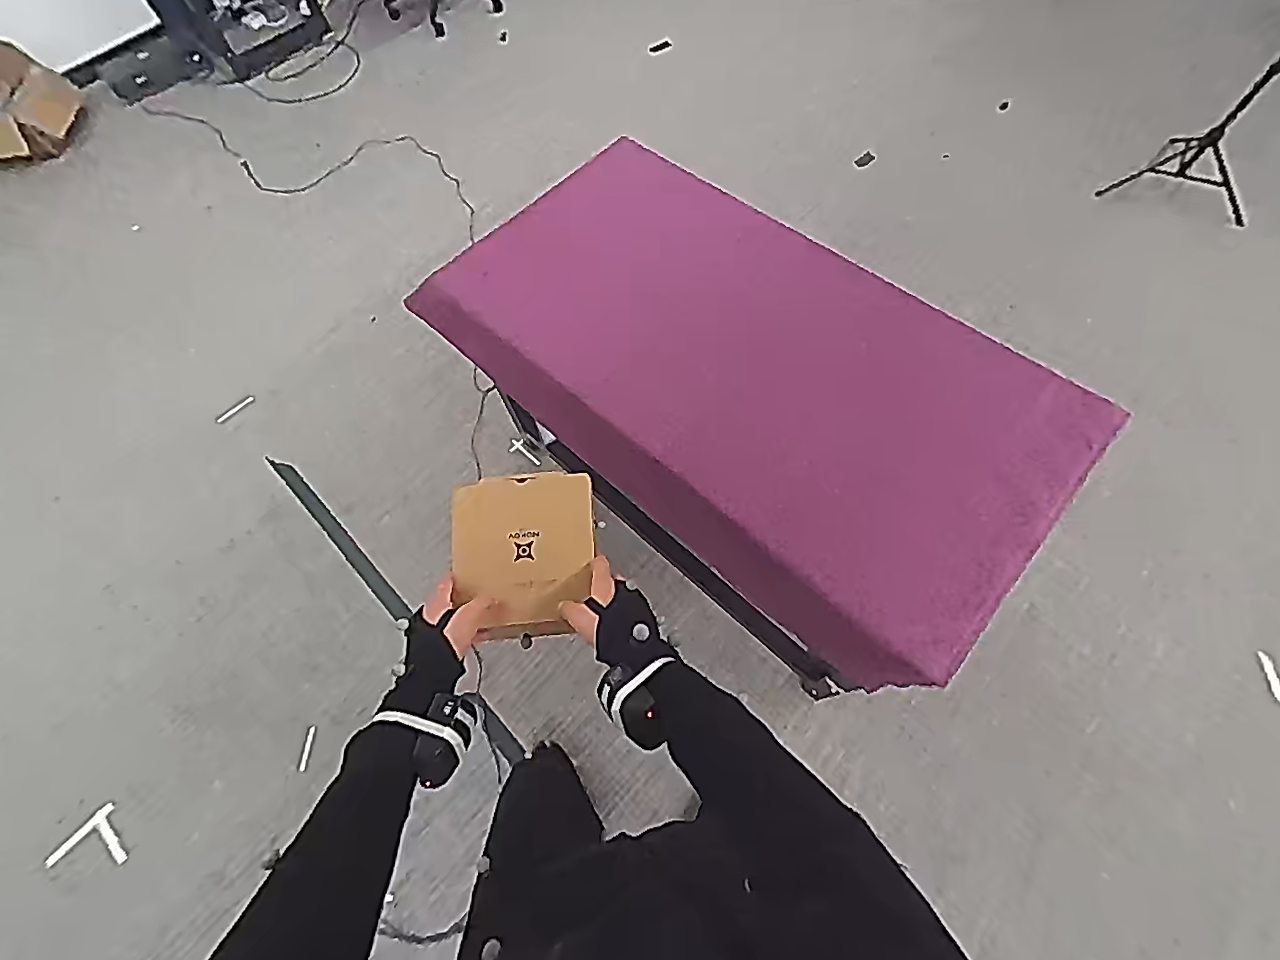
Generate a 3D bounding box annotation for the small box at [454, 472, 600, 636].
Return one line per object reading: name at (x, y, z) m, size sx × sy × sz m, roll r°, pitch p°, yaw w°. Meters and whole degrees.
small box at (-0.140, 0.104, 0.719) m, size 0.168 × 0.176 × 0.179 m, roll -3°, pitch 69°, yaw -4°
